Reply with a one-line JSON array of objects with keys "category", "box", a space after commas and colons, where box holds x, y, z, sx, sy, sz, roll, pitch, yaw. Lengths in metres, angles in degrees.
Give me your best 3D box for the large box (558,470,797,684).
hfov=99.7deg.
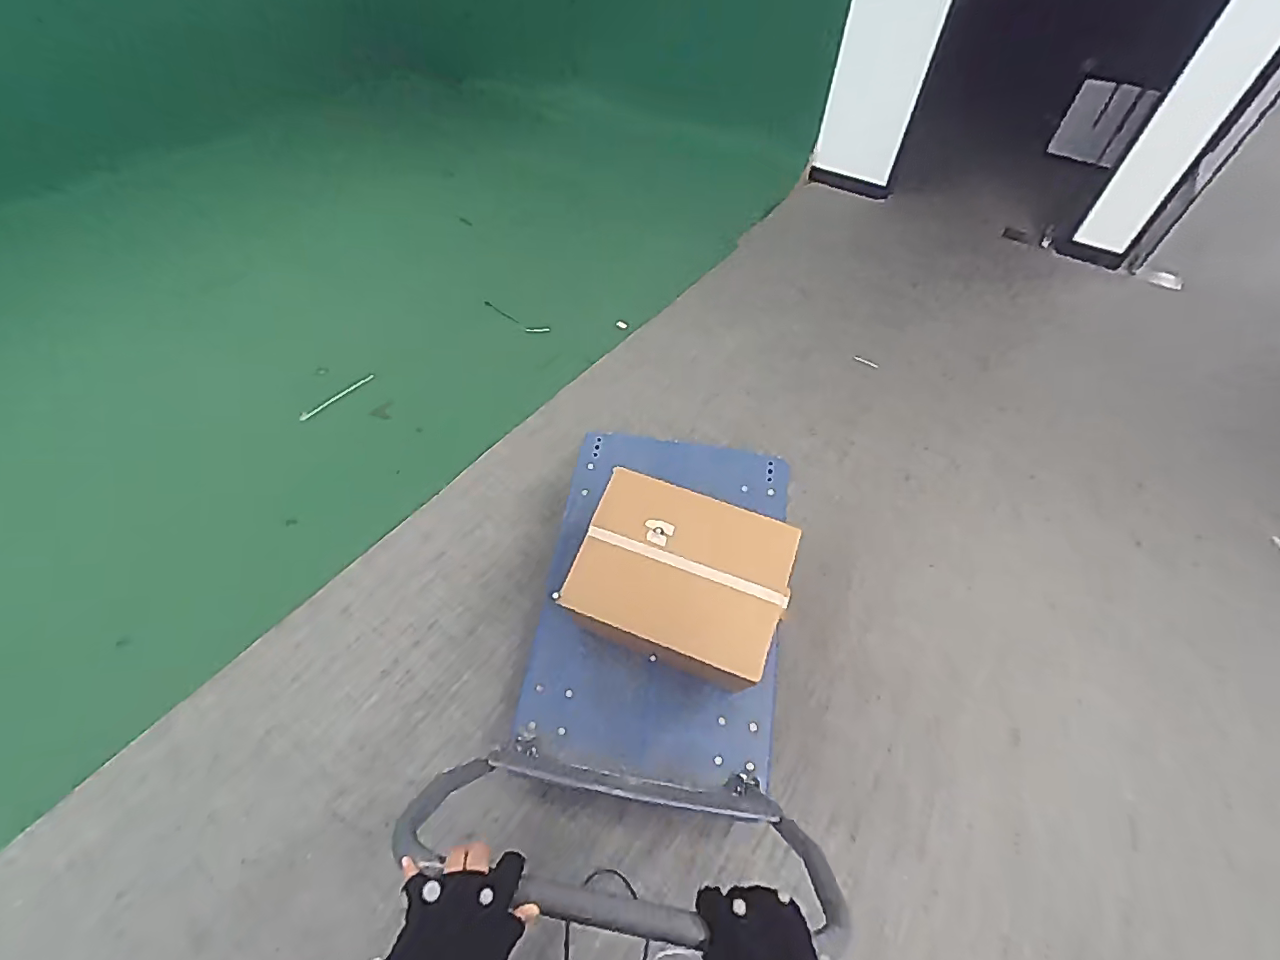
[{"category": "large box", "box": [0.087, 0.227, 1.194, 0.408, 0.320, 0.320, 19, 68, 11]}]
